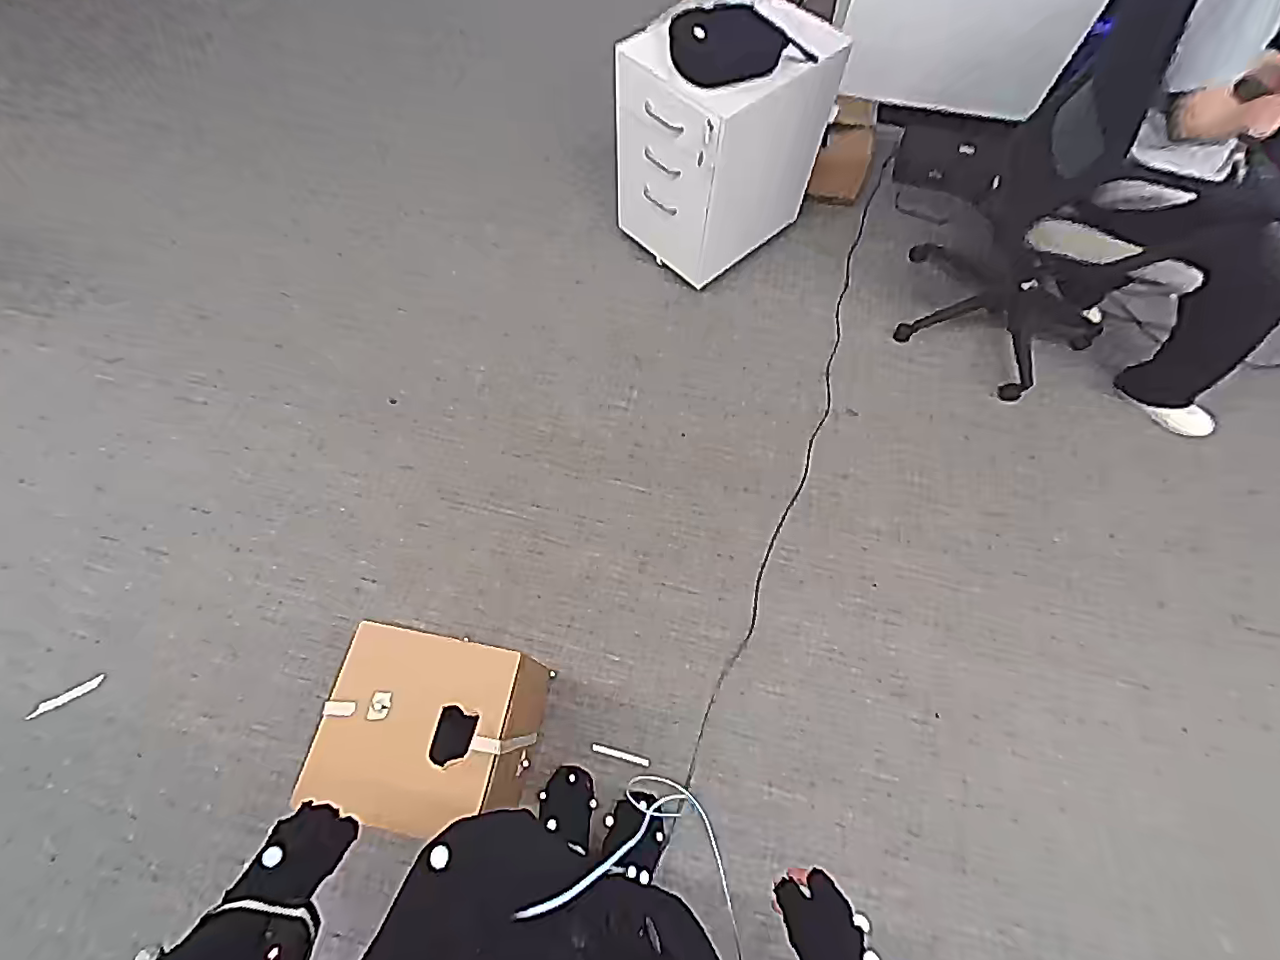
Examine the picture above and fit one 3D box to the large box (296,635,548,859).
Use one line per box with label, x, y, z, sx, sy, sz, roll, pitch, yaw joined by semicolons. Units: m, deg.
large box;-0.398;0.516;1.106;0.320;0.408;0.320;11;67;3
